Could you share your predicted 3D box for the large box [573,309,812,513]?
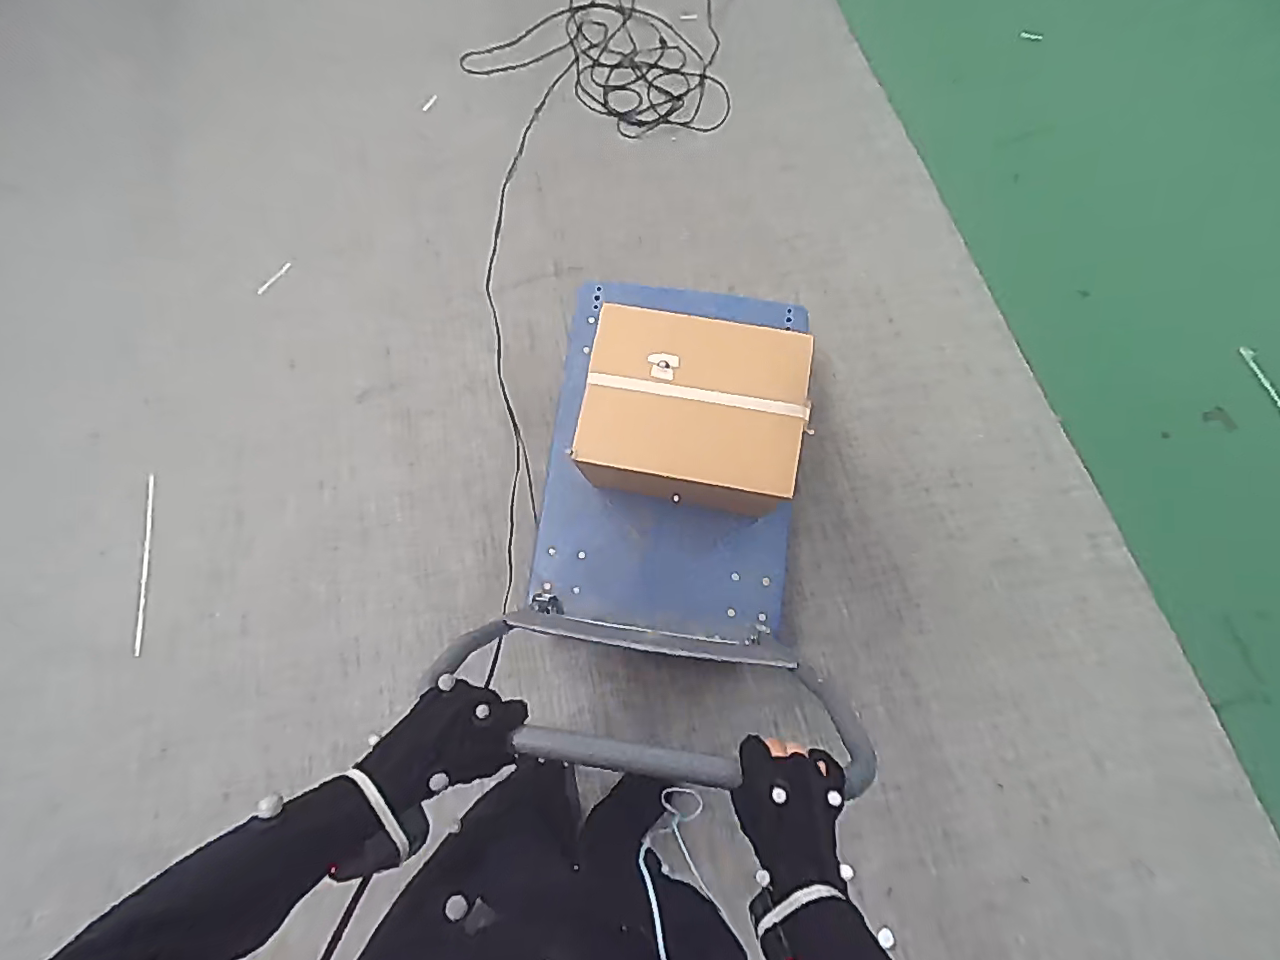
[{"bbox_3d":[0.108,-0.122,1.135,0.408,0.320,0.320,11,81,5],"label":"large box"}]
